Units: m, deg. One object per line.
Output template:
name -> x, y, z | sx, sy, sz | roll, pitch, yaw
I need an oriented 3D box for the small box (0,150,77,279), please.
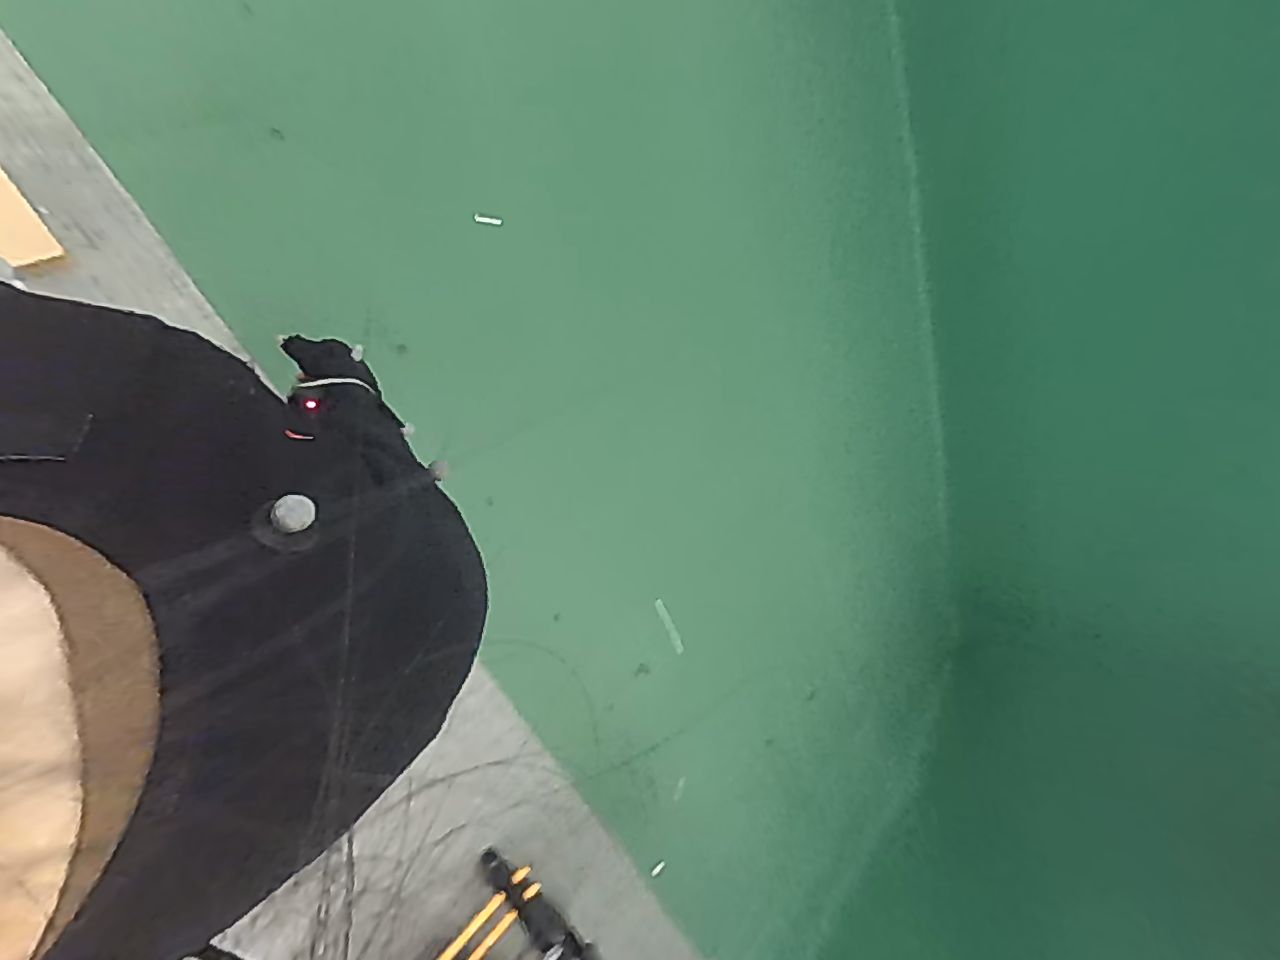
small box -> -1.078, -0.433, 0.874 | 0.168, 0.176, 0.179 | -37, 122, -29
